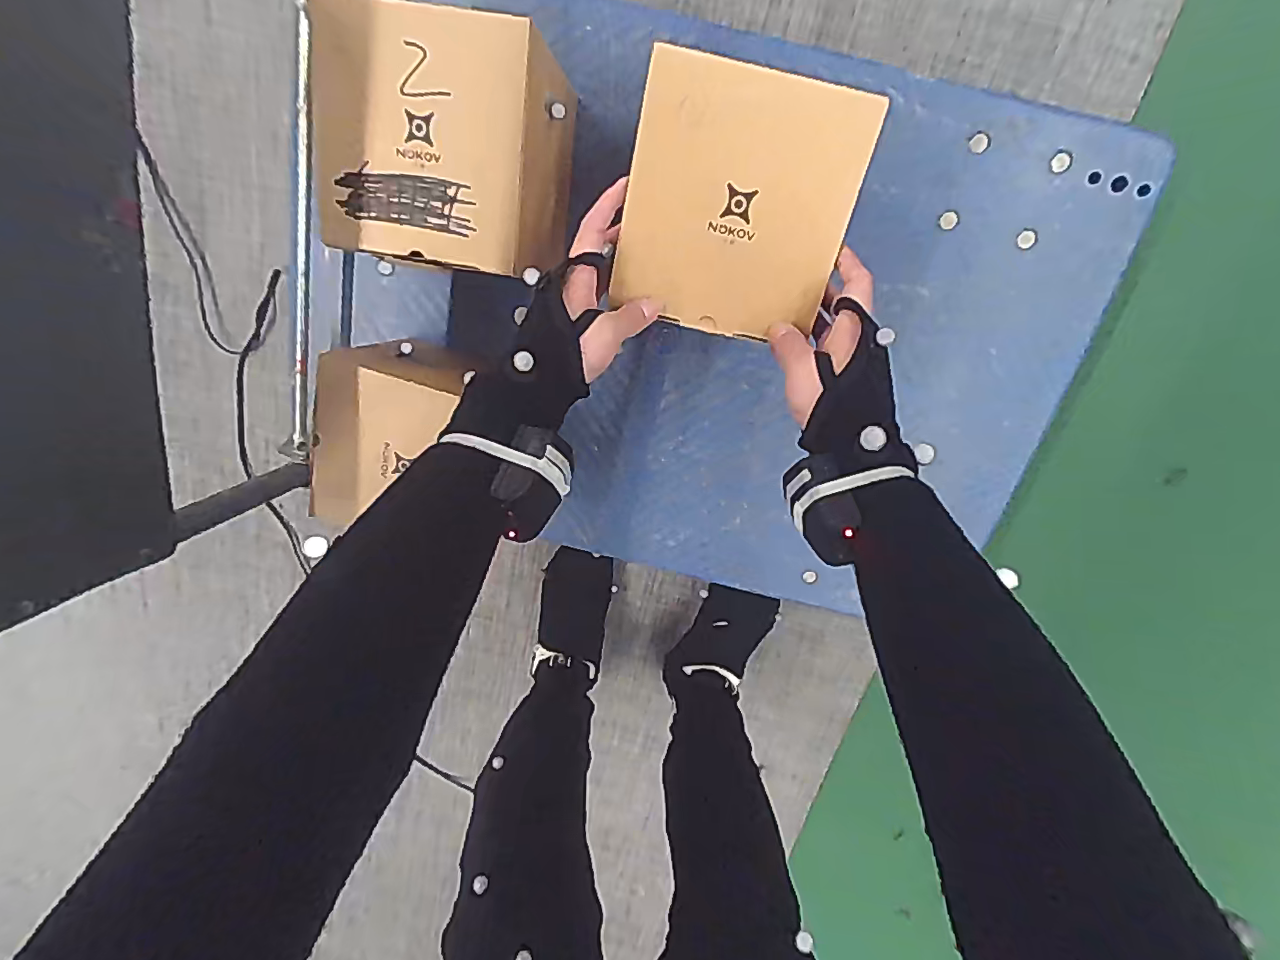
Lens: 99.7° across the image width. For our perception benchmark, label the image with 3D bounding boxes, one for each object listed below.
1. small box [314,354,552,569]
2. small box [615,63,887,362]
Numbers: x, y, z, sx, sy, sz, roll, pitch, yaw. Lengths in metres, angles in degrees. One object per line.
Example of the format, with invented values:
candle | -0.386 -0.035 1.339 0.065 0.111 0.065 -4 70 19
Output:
small box | -0.213 -0.033 0.587 0.179 0.176 0.168 16 110 -1
small box | 0.080 -0.223 0.478 0.168 0.176 0.179 13 114 -1
